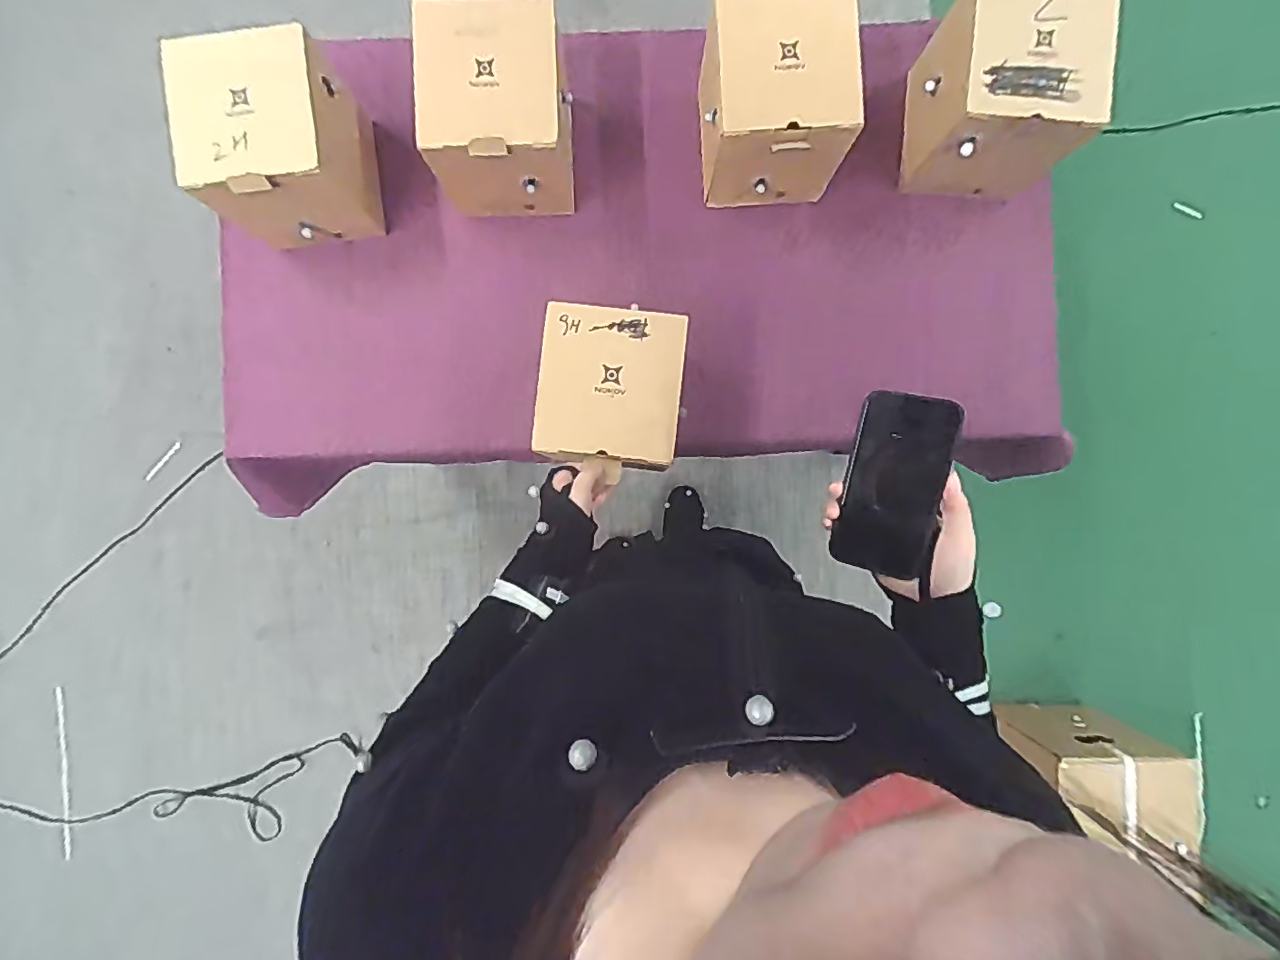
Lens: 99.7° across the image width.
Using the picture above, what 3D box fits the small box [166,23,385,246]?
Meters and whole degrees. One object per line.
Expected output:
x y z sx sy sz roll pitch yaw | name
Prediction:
-0.456 -0.432 0.701 0.168 0.176 0.179 -7 90 1 | small box

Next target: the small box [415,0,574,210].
-0.177 -0.471 0.701 0.168 0.176 0.179 -1 90 -1 | small box

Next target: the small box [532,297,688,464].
-0.033 -0.115 0.697 0.168 0.176 0.179 6 90 0 | small box

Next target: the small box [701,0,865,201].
0.172 -0.492 0.698 0.168 0.176 0.179 -4 91 1 | small box
